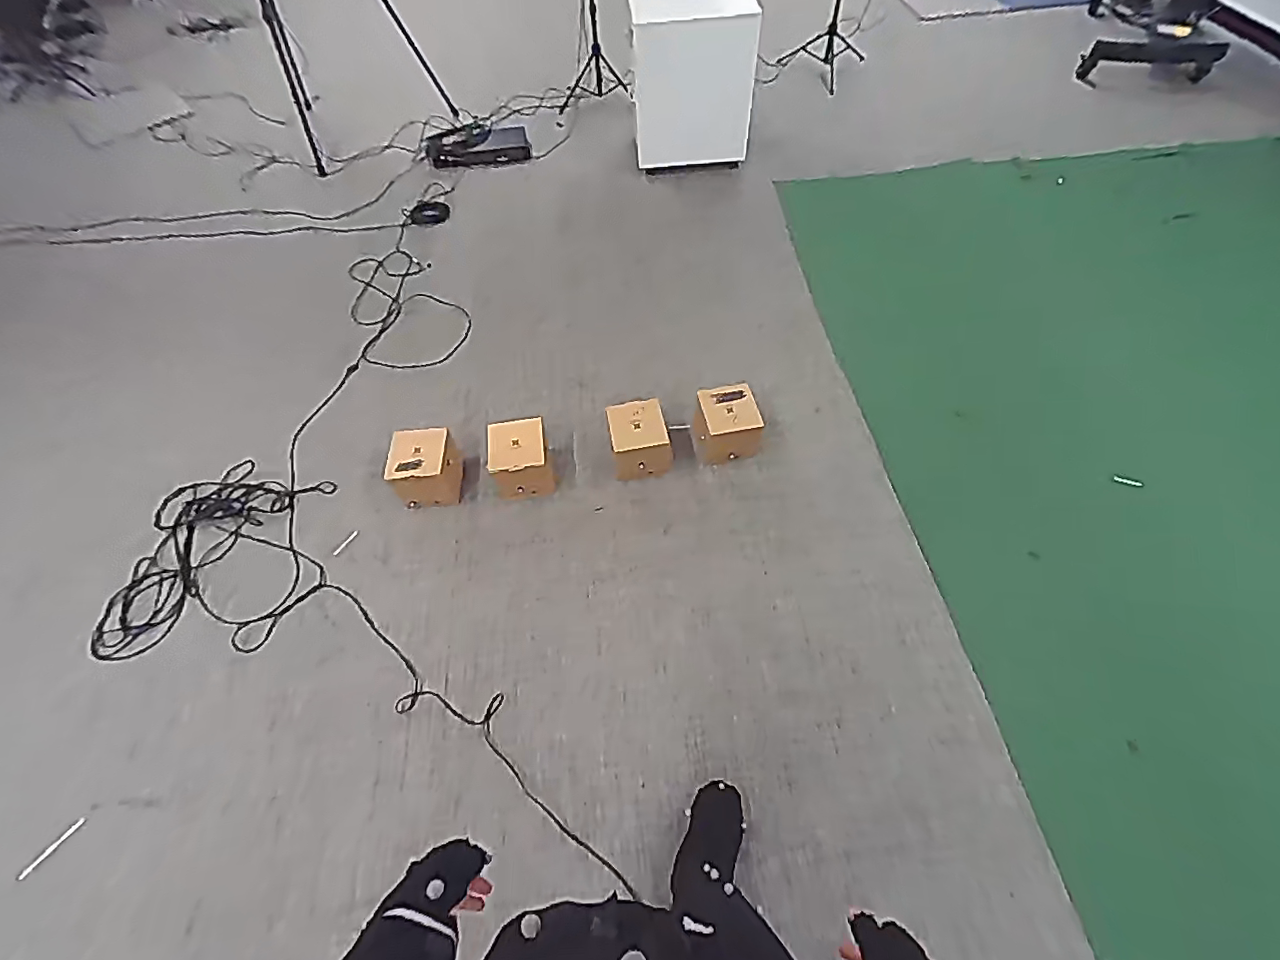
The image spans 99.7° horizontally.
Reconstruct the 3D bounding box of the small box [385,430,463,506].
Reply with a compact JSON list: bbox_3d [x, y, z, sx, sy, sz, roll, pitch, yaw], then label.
[{"bbox_3d":[-0.655,-0.030,1.662,0.168,0.176,0.179,-4,57,0],"label":"small box"}]

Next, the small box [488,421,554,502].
[{"bbox_3d":[-0.365,-0.056,1.668,0.168,0.176,0.179,-9,59,-3],"label":"small box"}]

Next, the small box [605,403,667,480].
[{"bbox_3d":[-0.010,-0.113,1.687,0.168,0.176,0.179,-9,58,-4],"label":"small box"}]
